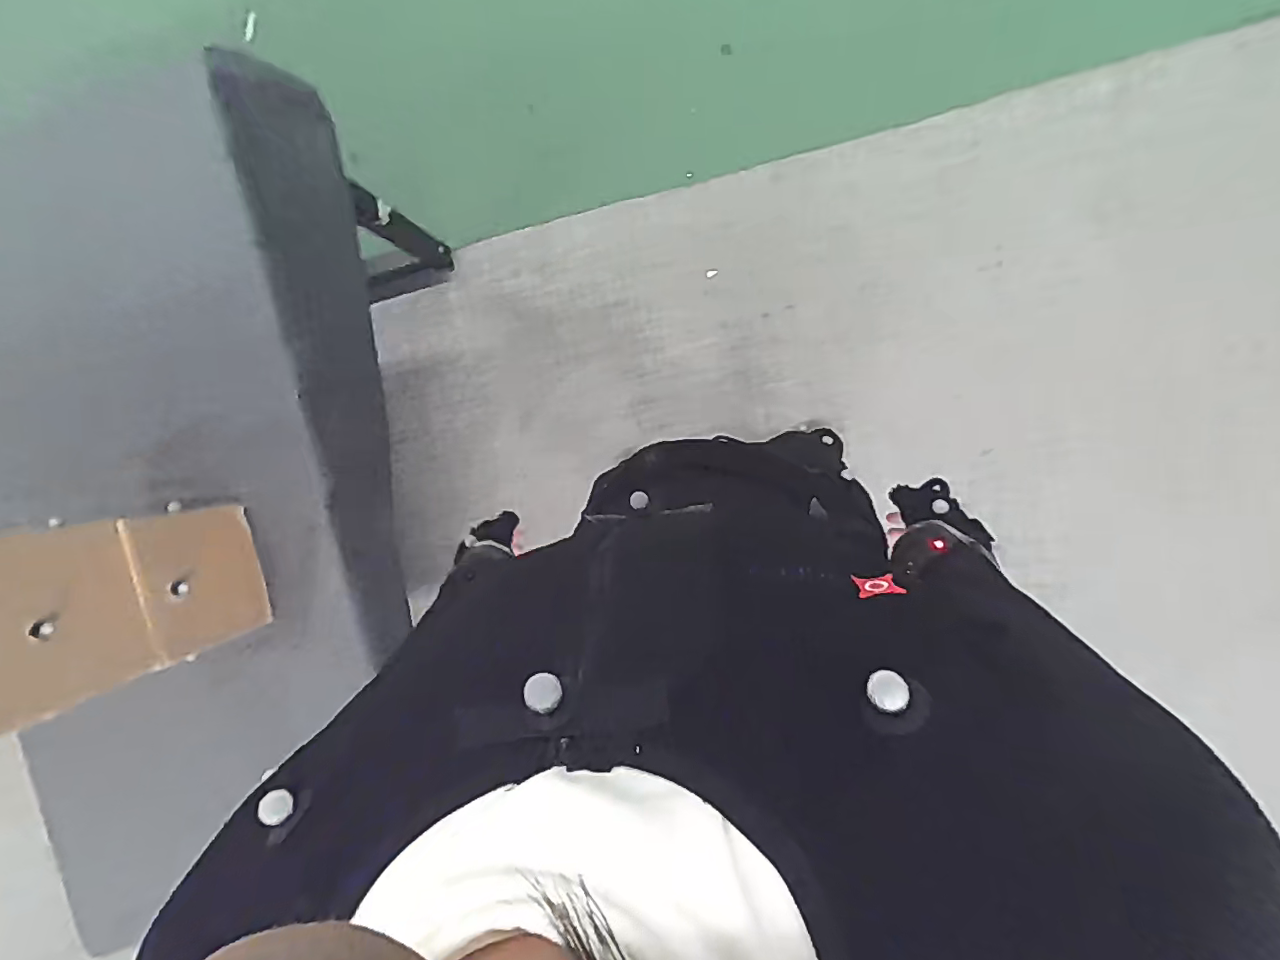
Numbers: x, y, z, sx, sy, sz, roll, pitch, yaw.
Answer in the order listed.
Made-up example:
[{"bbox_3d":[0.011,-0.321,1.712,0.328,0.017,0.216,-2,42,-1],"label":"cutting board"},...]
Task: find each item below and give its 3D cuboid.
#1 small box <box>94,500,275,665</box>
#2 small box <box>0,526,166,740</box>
[{"bbox_3d":[-0.624,0.135,0.710,0.168,0.176,0.179,-12,93,7],"label":"small box"},{"bbox_3d":[-0.647,0.152,0.548,0.168,0.176,0.179,-14,96,7],"label":"small box"}]
